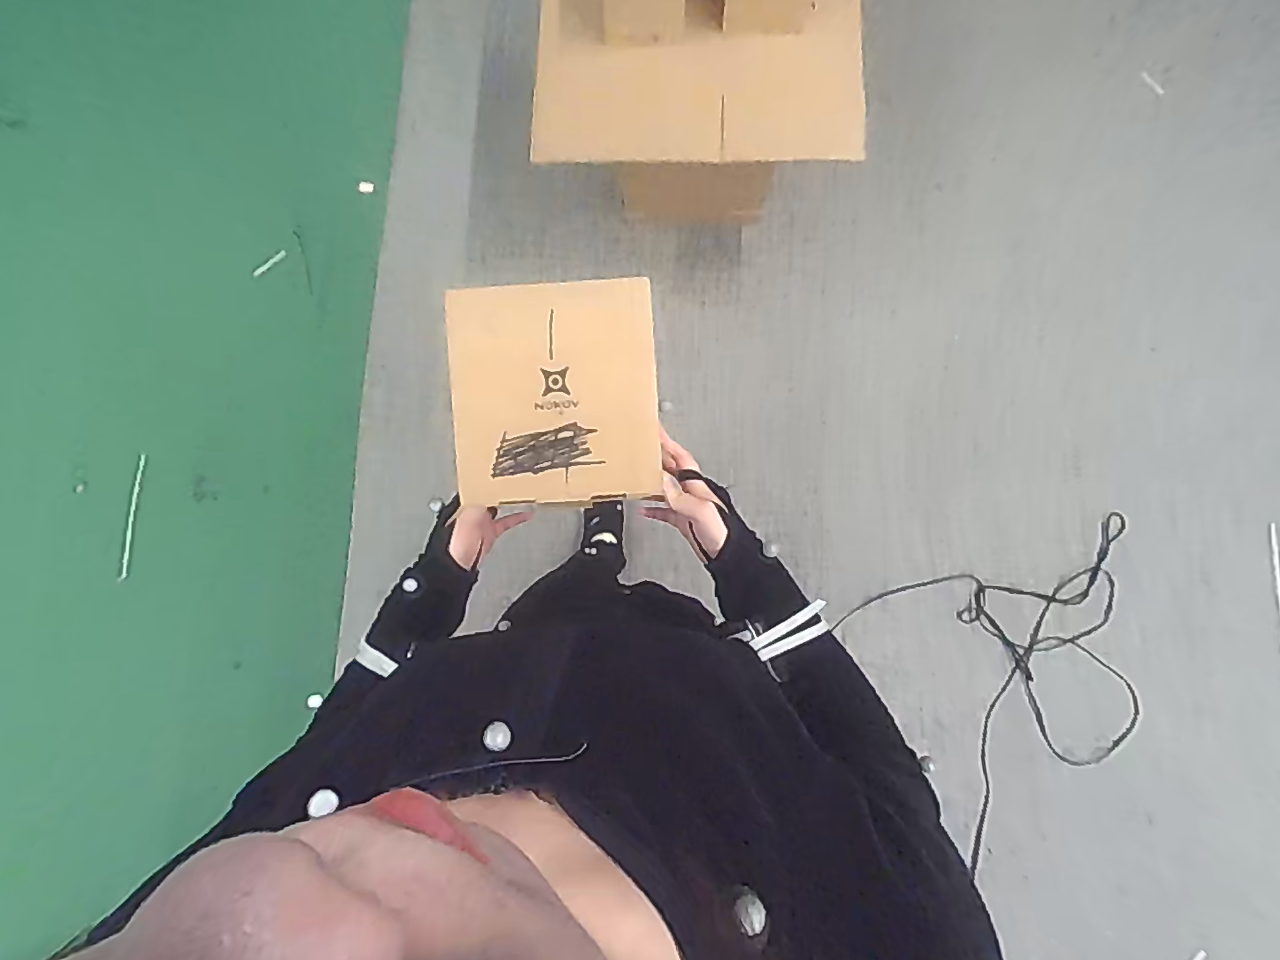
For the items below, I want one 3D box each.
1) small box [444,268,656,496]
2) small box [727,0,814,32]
[{"bbox_3d":[-0.069,-0.080,0.510,0.168,0.176,0.179,-3,91,0],"label":"small box"},{"bbox_3d":[0.271,-1.045,1.082,0.179,0.176,0.168,4,83,5],"label":"small box"}]
